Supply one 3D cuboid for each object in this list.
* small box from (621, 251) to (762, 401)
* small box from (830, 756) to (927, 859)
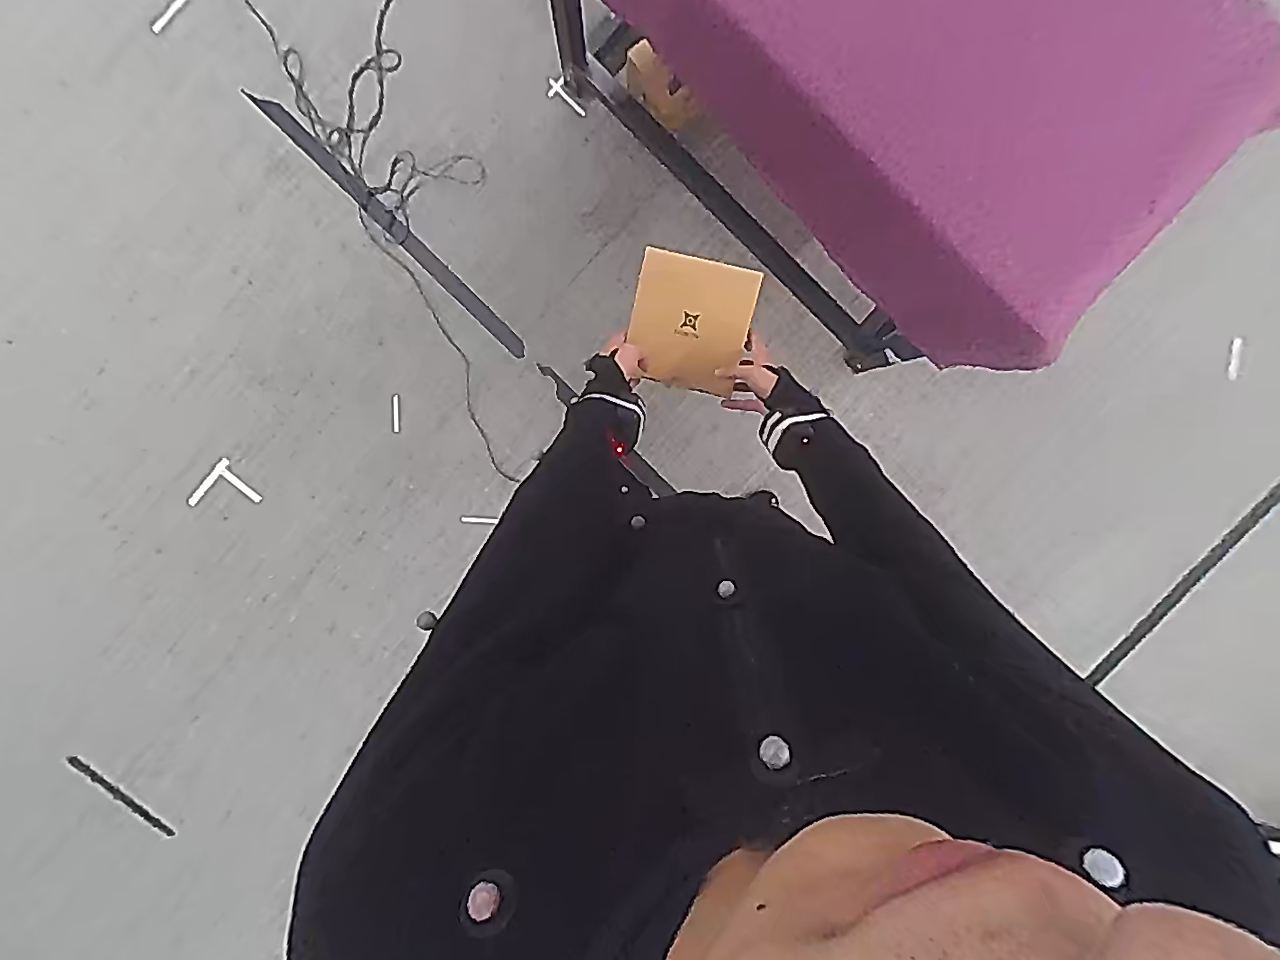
[{"bbox_3d":[0.076,-0.232,0.833,0.168,0.176,0.179,14,105,3],"label":"small box"},{"bbox_3d":[0.719,0.989,1.650,0.179,0.176,0.168,40,93,-4],"label":"small box"}]
